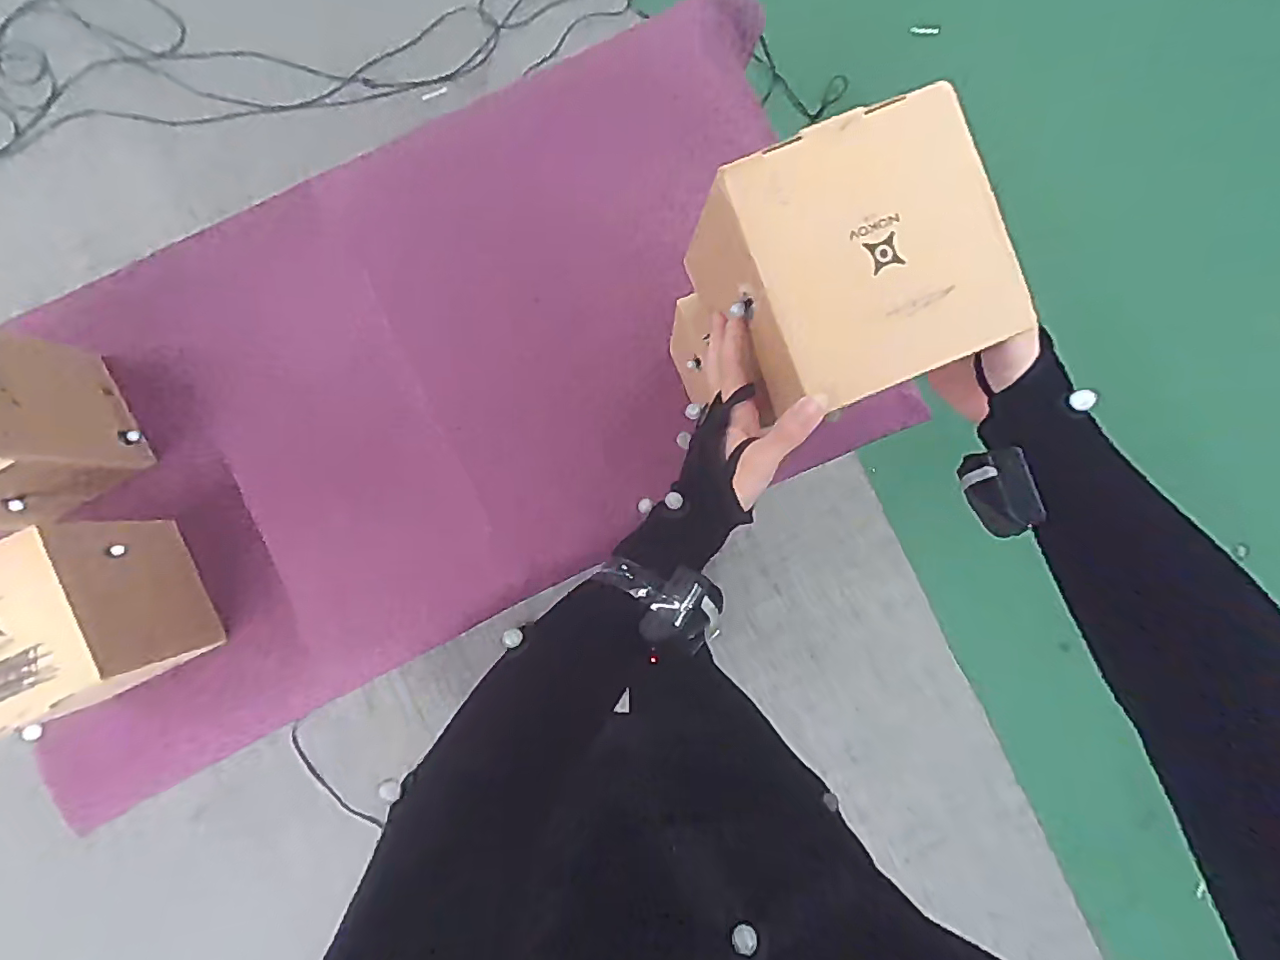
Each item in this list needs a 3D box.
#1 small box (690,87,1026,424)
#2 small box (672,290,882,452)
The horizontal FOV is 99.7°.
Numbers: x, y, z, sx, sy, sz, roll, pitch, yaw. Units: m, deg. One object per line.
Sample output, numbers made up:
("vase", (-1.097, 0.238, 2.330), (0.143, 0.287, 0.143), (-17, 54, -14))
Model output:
("small box", (0.151, -0.156, 0.439), (0.168, 0.176, 0.179), (-22, 93, -2))
("small box", (0.149, -0.143, 0.639), (0.179, 0.176, 0.168), (-22, 87, -1))
